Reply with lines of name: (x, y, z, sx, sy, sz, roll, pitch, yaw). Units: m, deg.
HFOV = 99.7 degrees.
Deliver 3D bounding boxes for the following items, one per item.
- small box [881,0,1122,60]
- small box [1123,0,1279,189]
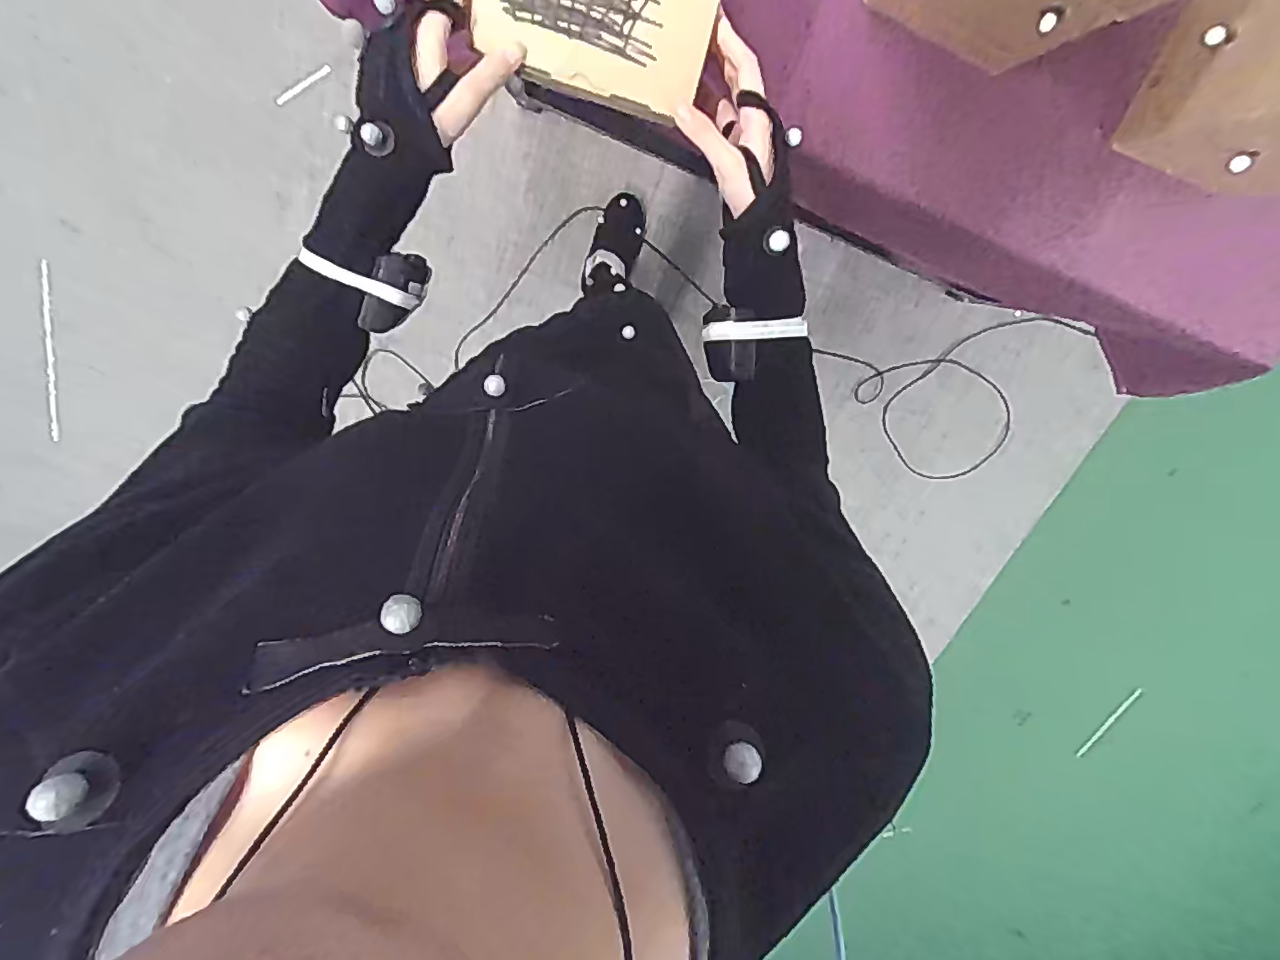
small box: (0.341, -0.513, 0.471, 0.179, 0.176, 0.168, 19, 111, -10)
small box: (0.644, -0.400, 0.522, 0.179, 0.176, 0.168, 17, 112, -7)
